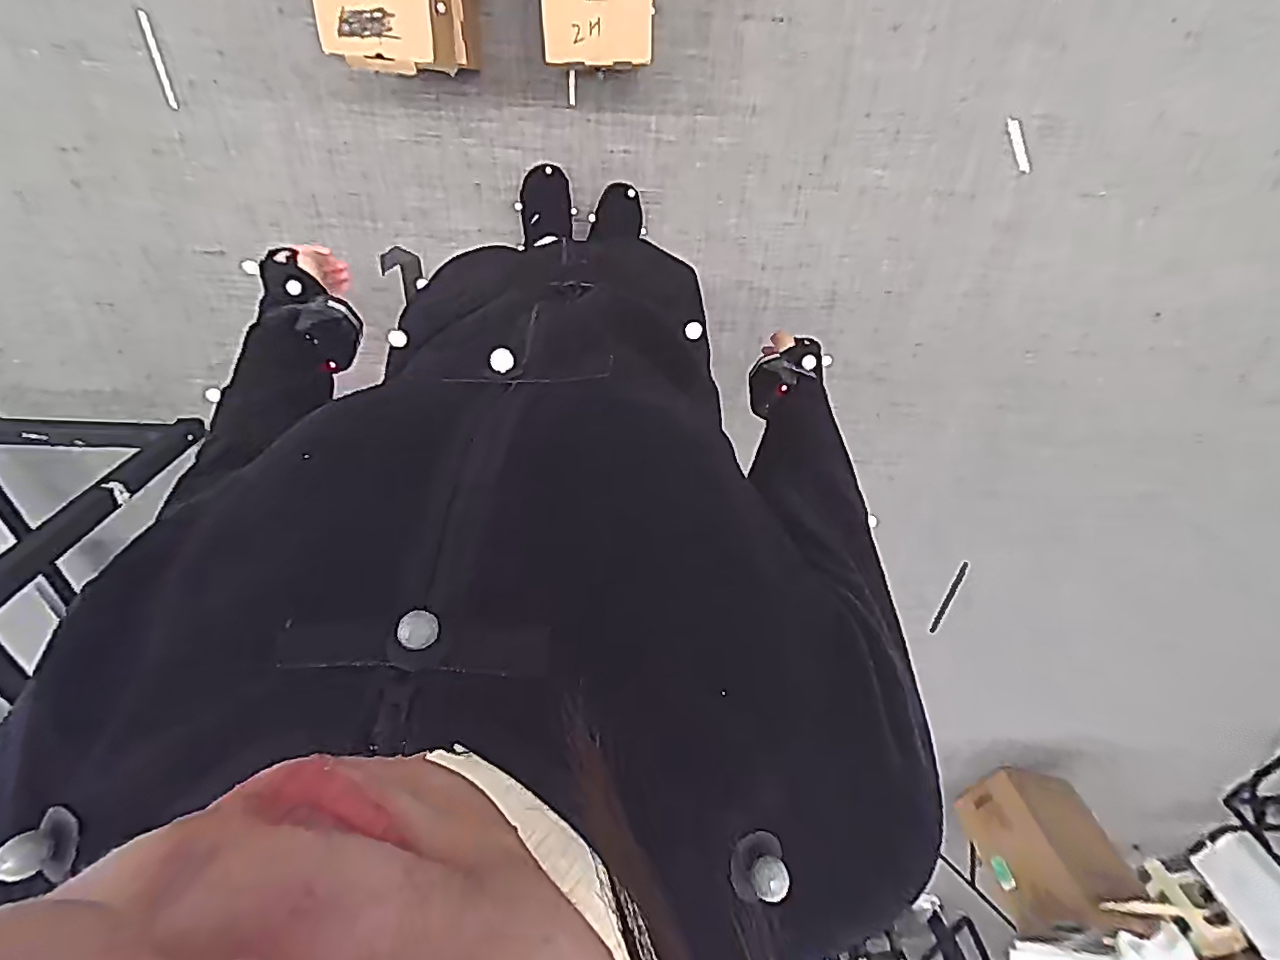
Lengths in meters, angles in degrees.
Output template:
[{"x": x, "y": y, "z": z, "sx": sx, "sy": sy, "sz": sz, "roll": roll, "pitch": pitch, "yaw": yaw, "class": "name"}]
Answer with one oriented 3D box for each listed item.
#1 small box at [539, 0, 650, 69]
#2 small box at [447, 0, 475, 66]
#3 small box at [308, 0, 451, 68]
[{"x": -0.072, "y": -0.761, "z": 0.846, "sx": 0.168, "sy": 0.176, "sz": 0.179, "roll": -2, "pitch": 125, "yaw": -3, "class": "small box"}, {"x": -0.398, "y": -0.847, "z": 0.961, "sx": 0.179, "sy": 0.176, "sz": 0.168, "roll": 0, "pitch": 125, "yaw": -5, "class": "small box"}, {"x": -0.395, "y": -0.751, "z": 0.828, "sx": 0.168, "sy": 0.176, "sz": 0.179, "roll": 1, "pitch": 123, "yaw": -7, "class": "small box"}]
